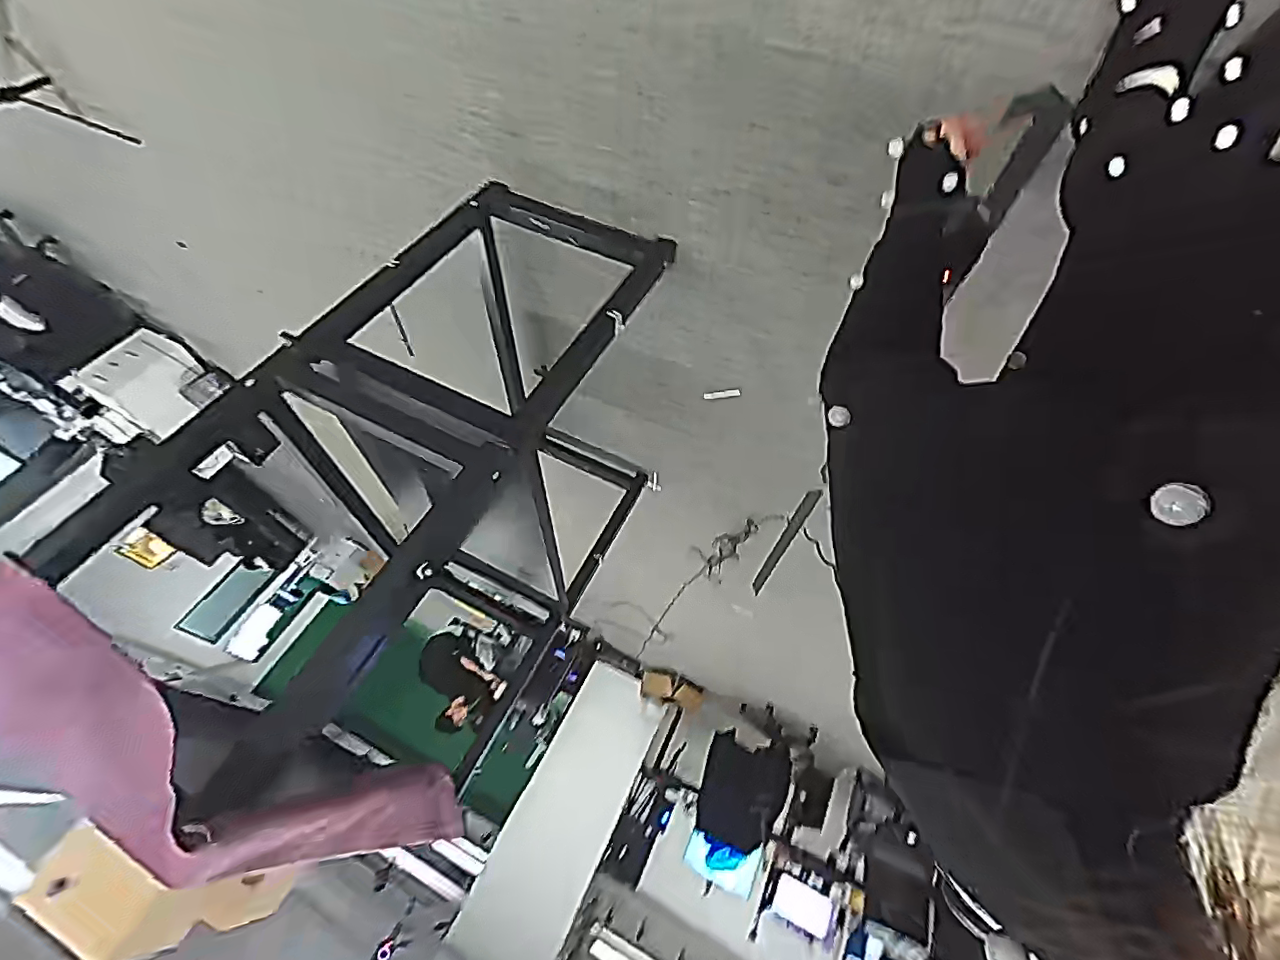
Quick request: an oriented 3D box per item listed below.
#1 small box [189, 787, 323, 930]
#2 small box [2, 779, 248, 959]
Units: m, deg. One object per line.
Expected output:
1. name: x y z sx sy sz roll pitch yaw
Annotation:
1. small box: -0.772 0.724 1.056 0.168 0.176 0.179 27 150 9
2. small box: -0.765 0.582 0.827 0.179 0.176 0.168 26 151 10
